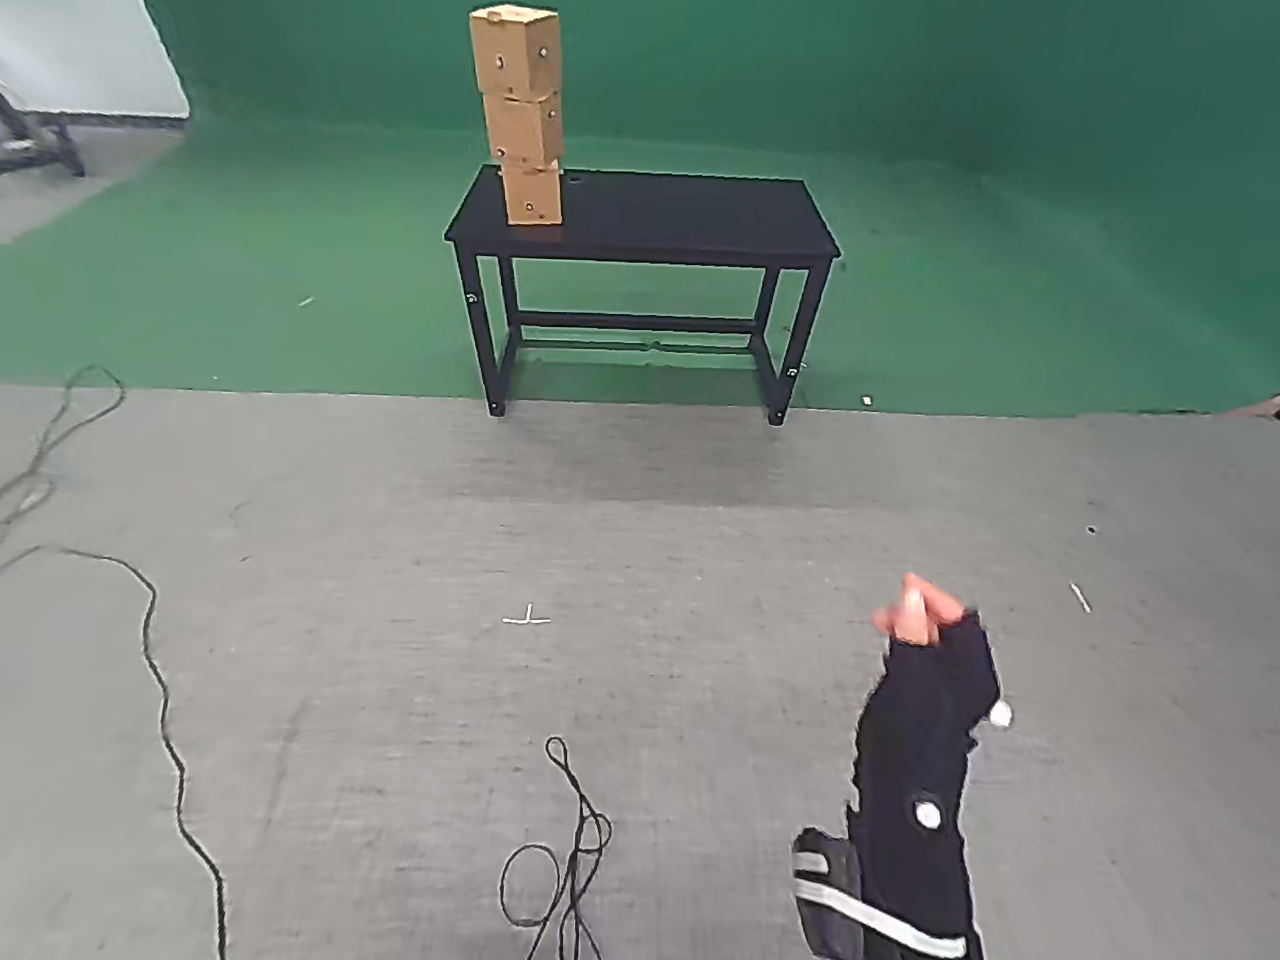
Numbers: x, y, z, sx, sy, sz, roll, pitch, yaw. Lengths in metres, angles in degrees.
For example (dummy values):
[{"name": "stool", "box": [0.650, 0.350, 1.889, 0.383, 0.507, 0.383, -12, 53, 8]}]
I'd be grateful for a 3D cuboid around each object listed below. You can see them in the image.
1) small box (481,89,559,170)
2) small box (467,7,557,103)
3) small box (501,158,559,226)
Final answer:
[{"name": "small box", "box": [-0.338, -1.028, 1.574, 0.168, 0.176, 0.179, 12, 48, 6]}, {"name": "small box", "box": [-0.333, -1.142, 1.456, 0.168, 0.176, 0.179, 20, 51, 13]}, {"name": "small box", "box": [-0.343, -0.918, 1.697, 0.168, 0.176, 0.179, -4, 49, -8]}]
